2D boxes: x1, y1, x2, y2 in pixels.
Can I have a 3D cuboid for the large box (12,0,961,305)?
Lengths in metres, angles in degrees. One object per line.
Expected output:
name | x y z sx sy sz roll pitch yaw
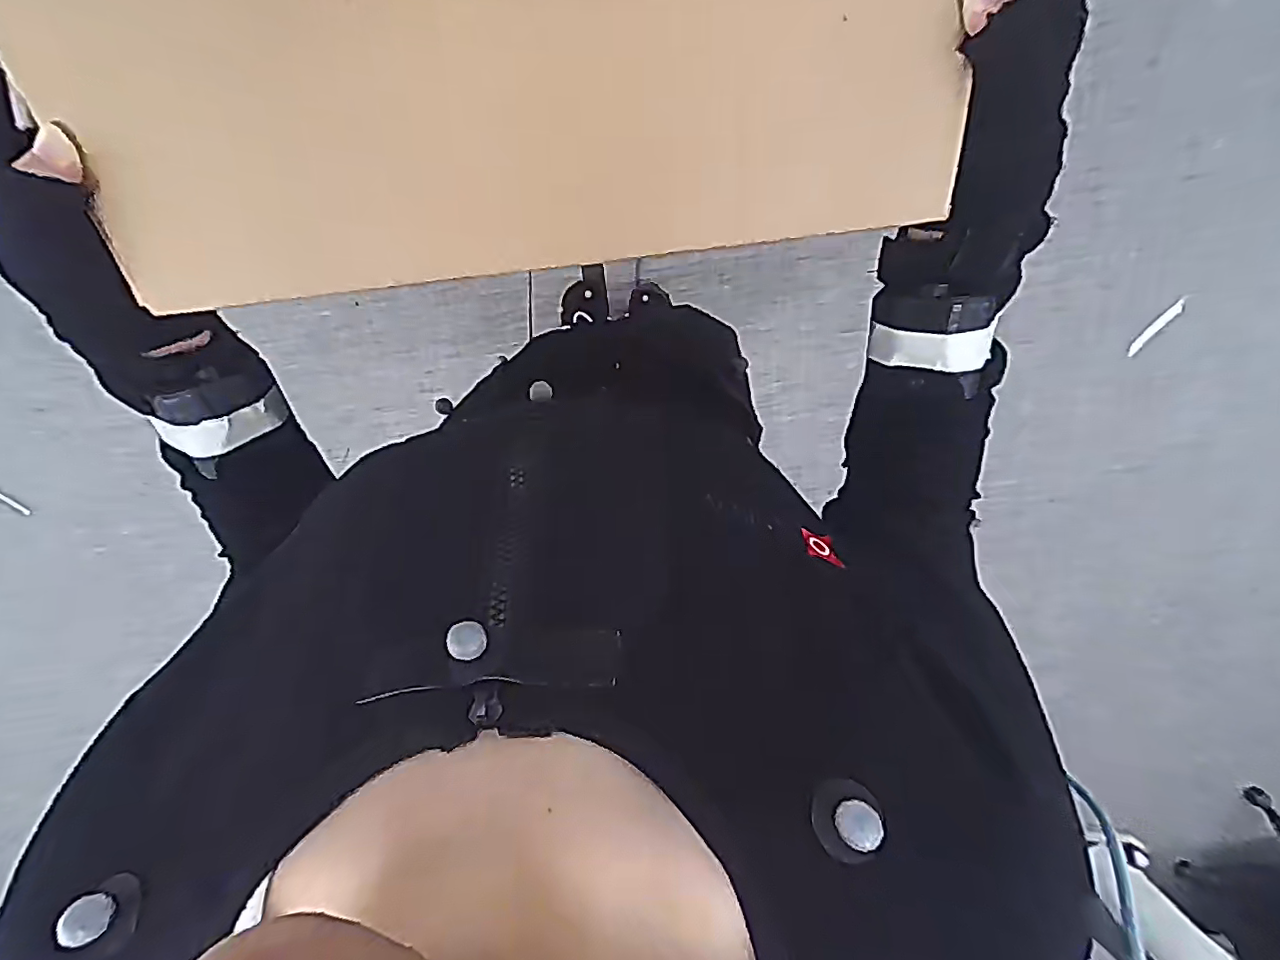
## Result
large box | -0.071 -0.322 0.332 0.408 0.320 0.320 -6 121 2
